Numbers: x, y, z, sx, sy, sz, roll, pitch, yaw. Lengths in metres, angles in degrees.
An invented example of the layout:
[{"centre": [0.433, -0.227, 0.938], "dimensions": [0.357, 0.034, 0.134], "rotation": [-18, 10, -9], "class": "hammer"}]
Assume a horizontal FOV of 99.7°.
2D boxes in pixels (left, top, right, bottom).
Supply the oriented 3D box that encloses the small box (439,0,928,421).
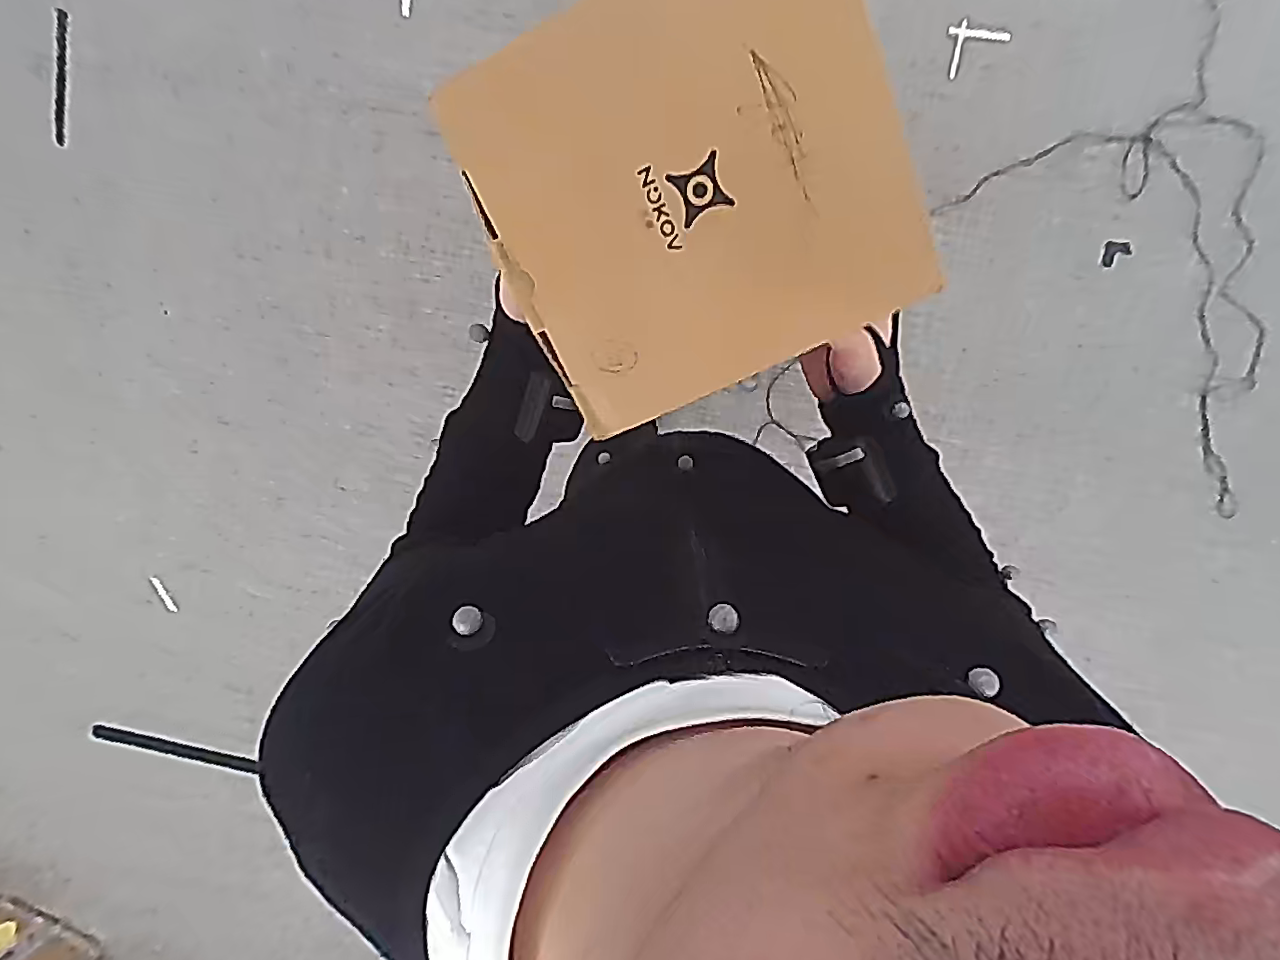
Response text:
[{"centre": [0.026, -0.156, 0.318], "dimensions": [0.179, 0.176, 0.168], "rotation": [-24, 106, 11], "class": "small box"}]
